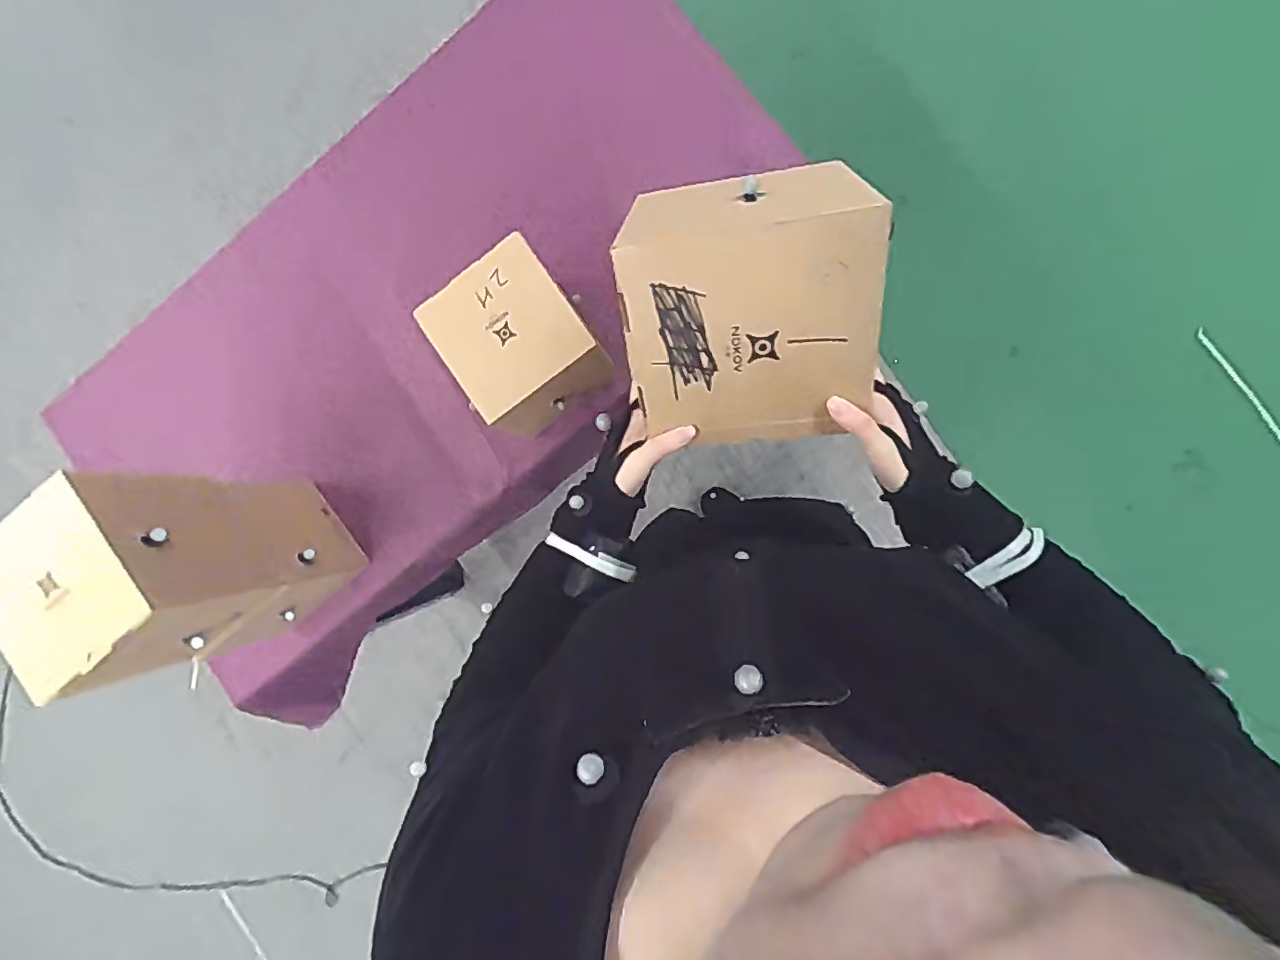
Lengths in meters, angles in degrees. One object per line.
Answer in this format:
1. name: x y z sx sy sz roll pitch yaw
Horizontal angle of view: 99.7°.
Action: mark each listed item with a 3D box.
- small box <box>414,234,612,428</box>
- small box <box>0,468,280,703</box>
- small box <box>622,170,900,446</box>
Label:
1. small box: -0.156 -0.182 0.729 0.168 0.176 0.179 -35 86 5
2. small box: -0.567 0.106 0.609 0.168 0.176 0.179 -38 86 5
3. small box: 0.093 -0.145 0.452 0.179 0.176 0.168 -3 128 10
